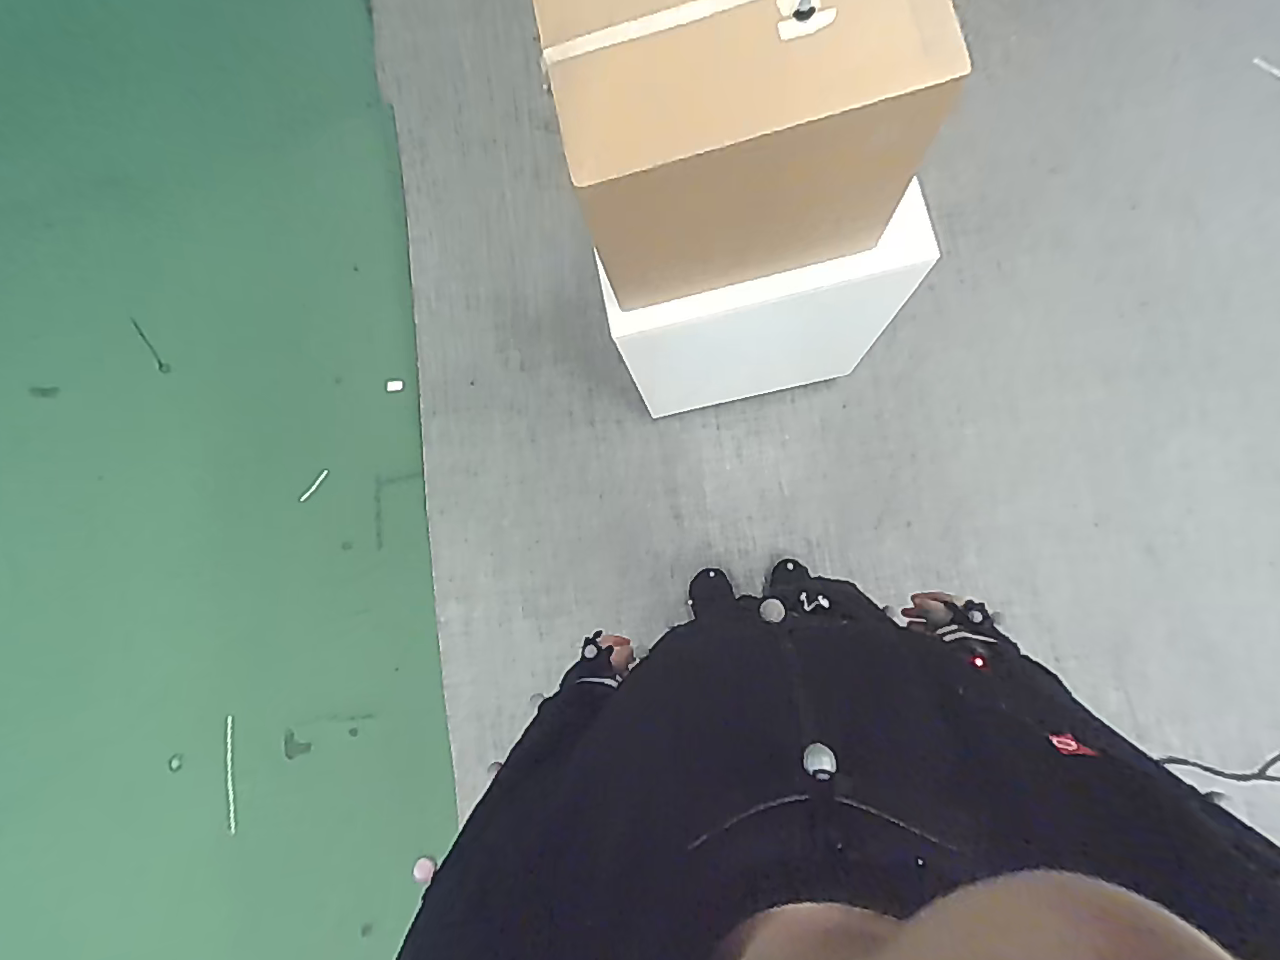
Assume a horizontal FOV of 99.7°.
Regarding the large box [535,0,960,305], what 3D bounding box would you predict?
[{"bbox_3d":[0.110,-0.483,0.717,0.408,0.320,0.320,-13,82,5],"label":"large box"}]
